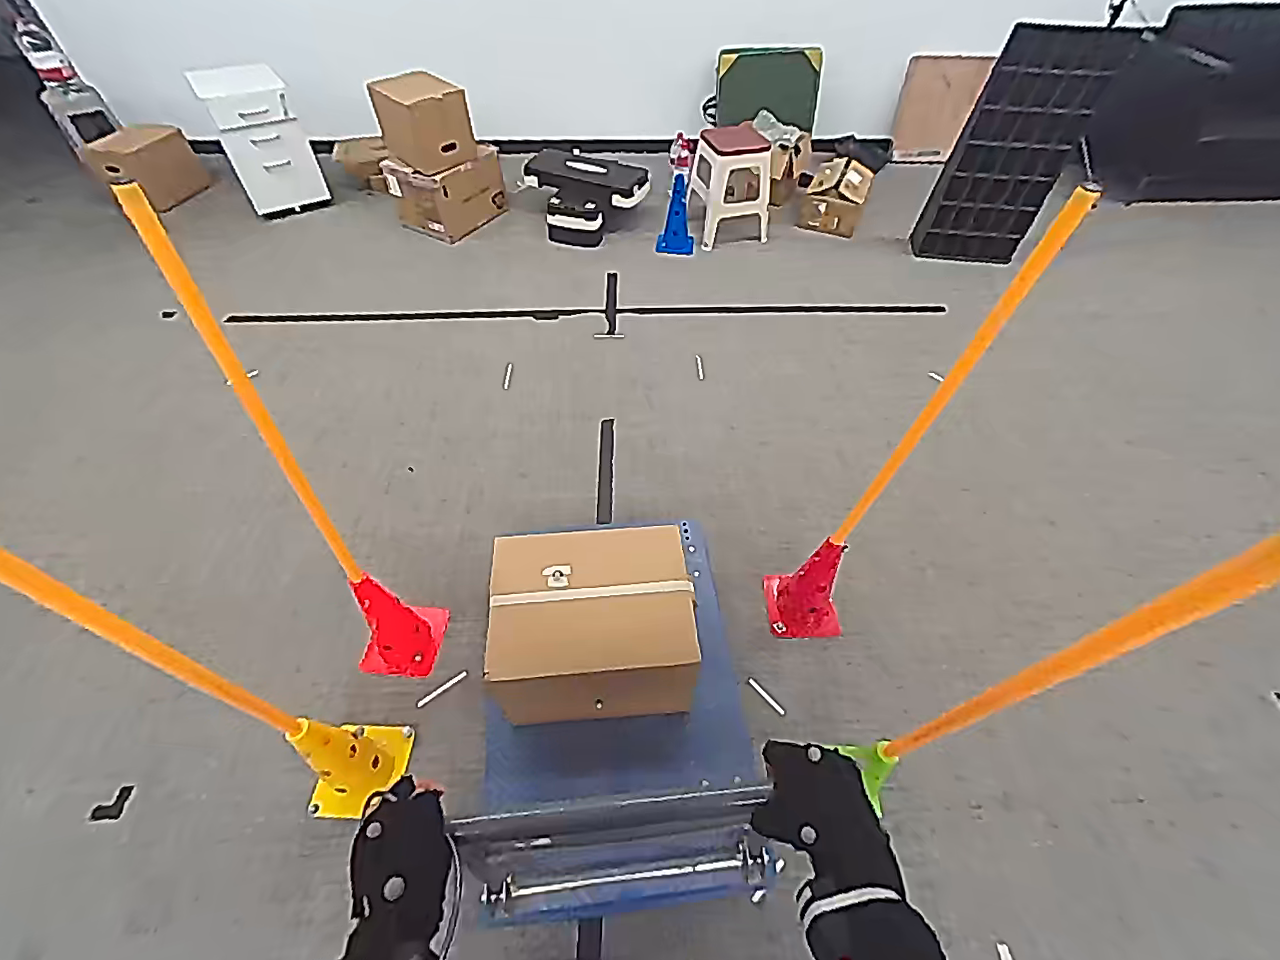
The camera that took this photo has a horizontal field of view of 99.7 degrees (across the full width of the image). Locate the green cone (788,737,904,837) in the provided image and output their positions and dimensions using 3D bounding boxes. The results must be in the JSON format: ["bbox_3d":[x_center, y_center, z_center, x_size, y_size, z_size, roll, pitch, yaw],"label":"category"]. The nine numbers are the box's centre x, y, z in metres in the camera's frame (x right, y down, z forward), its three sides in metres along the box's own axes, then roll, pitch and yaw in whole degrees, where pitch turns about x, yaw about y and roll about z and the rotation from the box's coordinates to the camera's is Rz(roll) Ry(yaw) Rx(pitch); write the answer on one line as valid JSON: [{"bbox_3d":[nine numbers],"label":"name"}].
[{"bbox_3d":[0.469,0.625,1.161,0.202,0.368,0.200,3,51,0],"label":"green cone"}]

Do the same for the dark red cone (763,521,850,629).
[{"bbox_3d":[0.479,0.238,1.455,0.201,0.394,0.202,1,51,-3],"label":"dark red cone"}]

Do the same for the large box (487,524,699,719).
[{"bbox_3d":[-0.098,0.323,1.213,0.408,0.320,0.320,-4,52,-3],"label":"large box"}]

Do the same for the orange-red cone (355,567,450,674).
[{"bbox_3d":[-0.650,0.327,1.386,0.198,0.360,0.199,6,50,2],"label":"orange-red cone"}]
